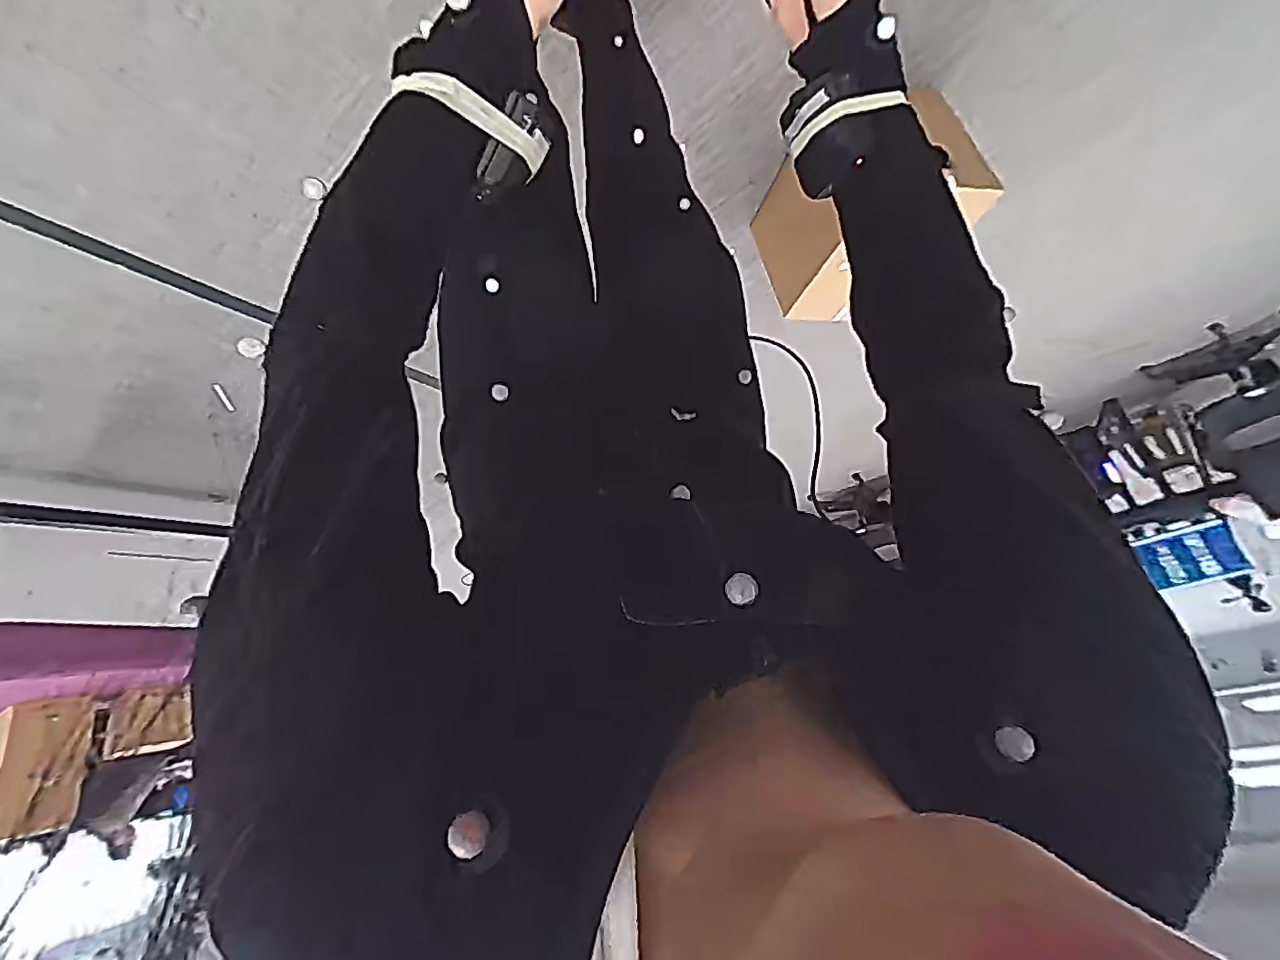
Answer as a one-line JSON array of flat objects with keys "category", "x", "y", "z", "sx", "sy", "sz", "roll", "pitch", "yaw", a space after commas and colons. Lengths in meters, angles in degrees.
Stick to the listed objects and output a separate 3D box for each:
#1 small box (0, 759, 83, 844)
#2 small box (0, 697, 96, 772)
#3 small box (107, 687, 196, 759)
[{"category": "small box", "x": -1.636, "y": 0.863, "z": 1.450, "sx": 0.179, "sy": 0.176, "sz": 0.168, "roll": -28, "pitch": 156, "yaw": 29}, {"category": "small box", "x": -1.666, "y": 0.716, "z": 1.512, "sx": 0.179, "sy": 0.176, "sz": 0.168, "roll": -26, "pitch": 156, "yaw": 27}, {"category": "small box", "x": -1.522, "y": 0.752, "z": 1.690, "sx": 0.179, "sy": 0.176, "sz": 0.168, "roll": -25, "pitch": 156, "yaw": 27}]
